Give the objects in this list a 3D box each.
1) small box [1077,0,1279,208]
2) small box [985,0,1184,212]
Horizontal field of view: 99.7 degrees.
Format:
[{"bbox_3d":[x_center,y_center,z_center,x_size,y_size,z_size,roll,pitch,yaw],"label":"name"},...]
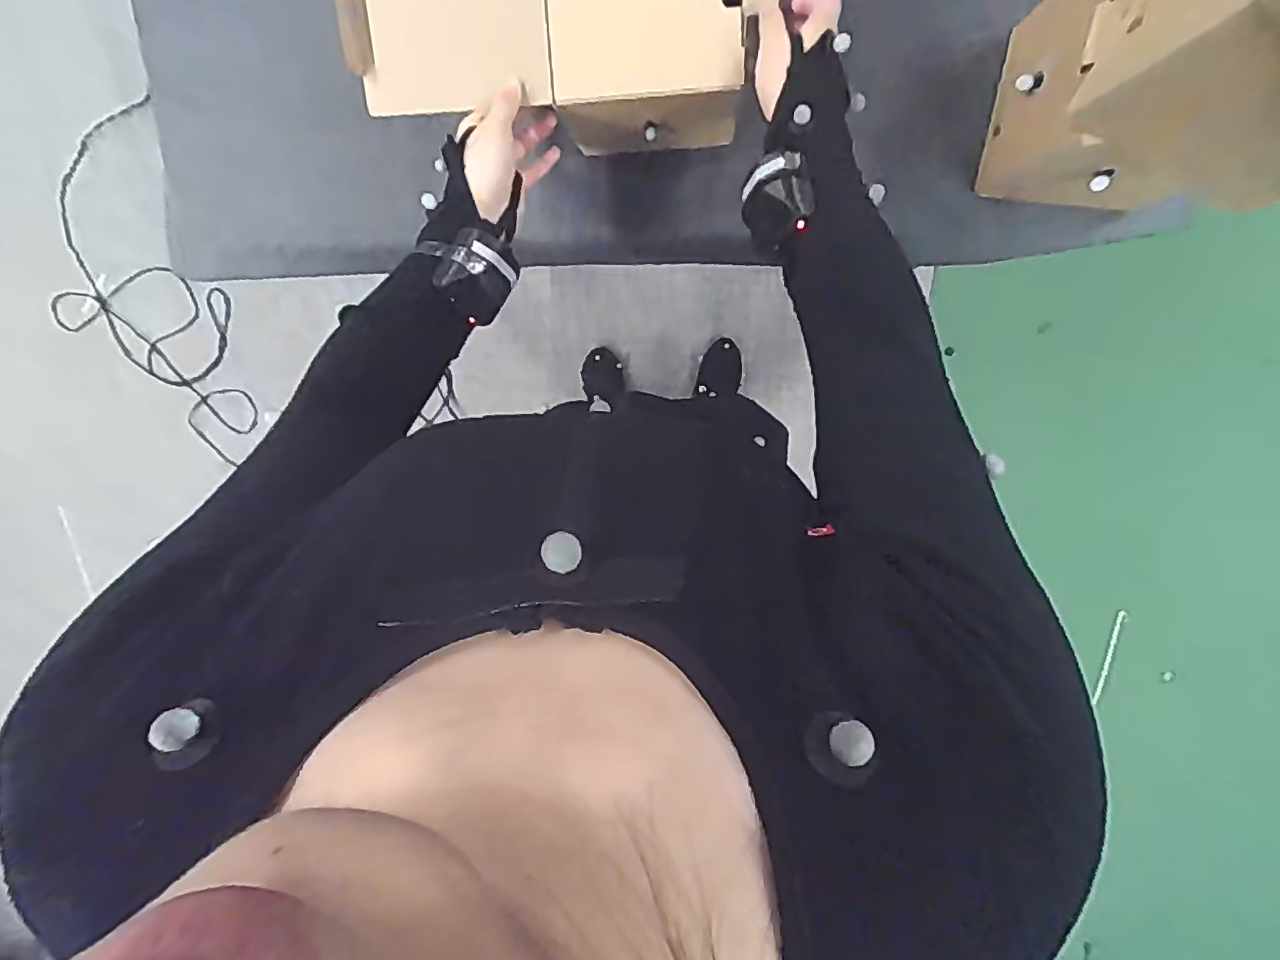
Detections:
[{"bbox_3d":[0.459,-0.310,0.358,0.179,0.176,0.168,27,104,-3],"label":"small box"},{"bbox_3d":[0.469,-0.366,0.512,0.179,0.176,0.168,7,104,4],"label":"small box"}]
